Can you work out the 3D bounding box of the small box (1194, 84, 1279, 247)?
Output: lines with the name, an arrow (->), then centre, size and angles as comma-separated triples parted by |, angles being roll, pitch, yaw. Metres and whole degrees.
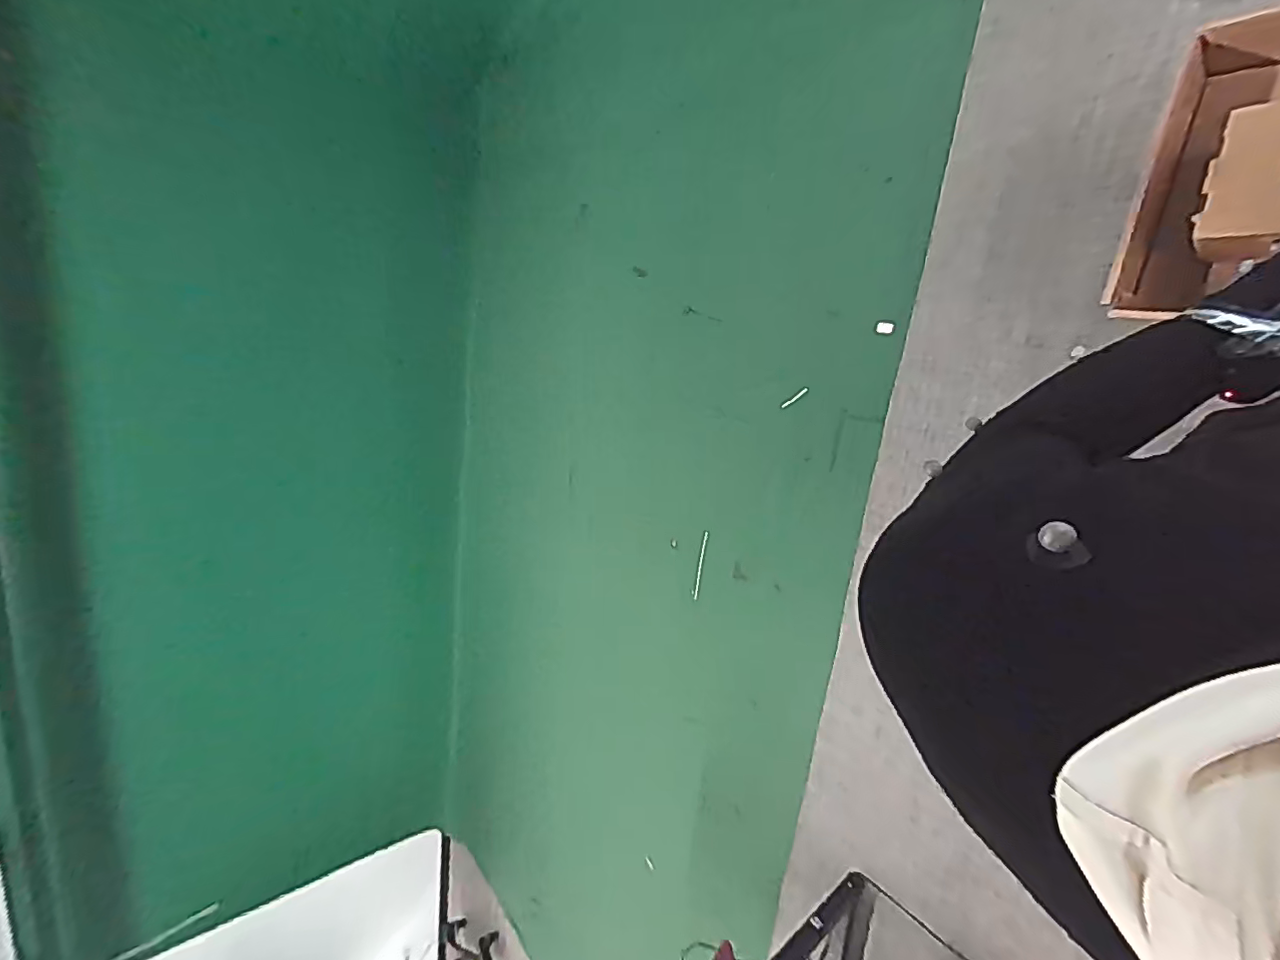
small box -> 0.902, -0.422, 0.731 | 0.179, 0.176, 0.168 | 20, 109, 45
